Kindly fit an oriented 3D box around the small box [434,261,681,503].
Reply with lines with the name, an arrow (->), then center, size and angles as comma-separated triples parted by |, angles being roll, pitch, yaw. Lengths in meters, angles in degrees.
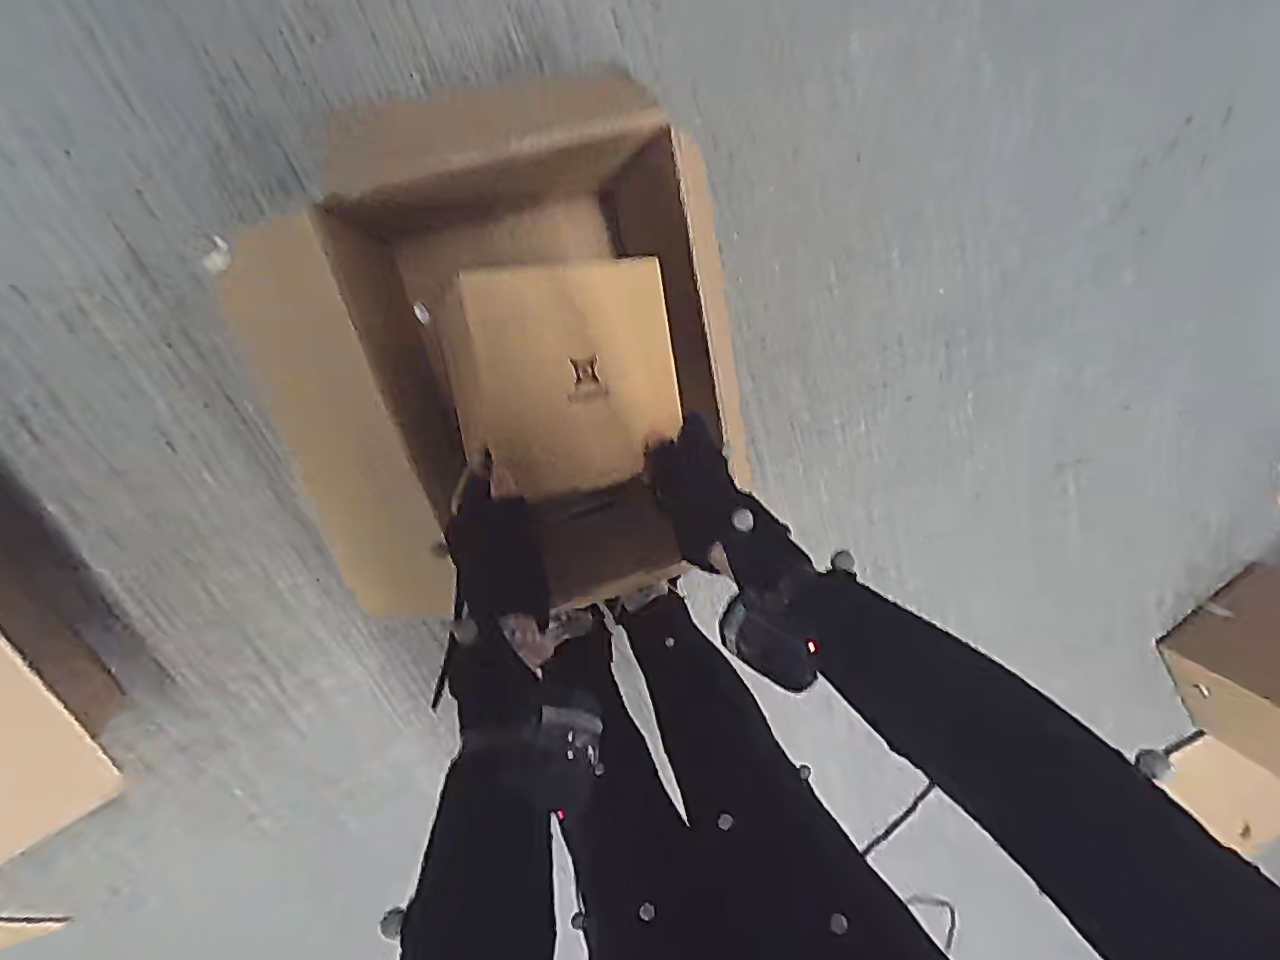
small box -> -0.084, -0.089, 0.506 | 0.168, 0.176, 0.179 | -15, 102, -24
